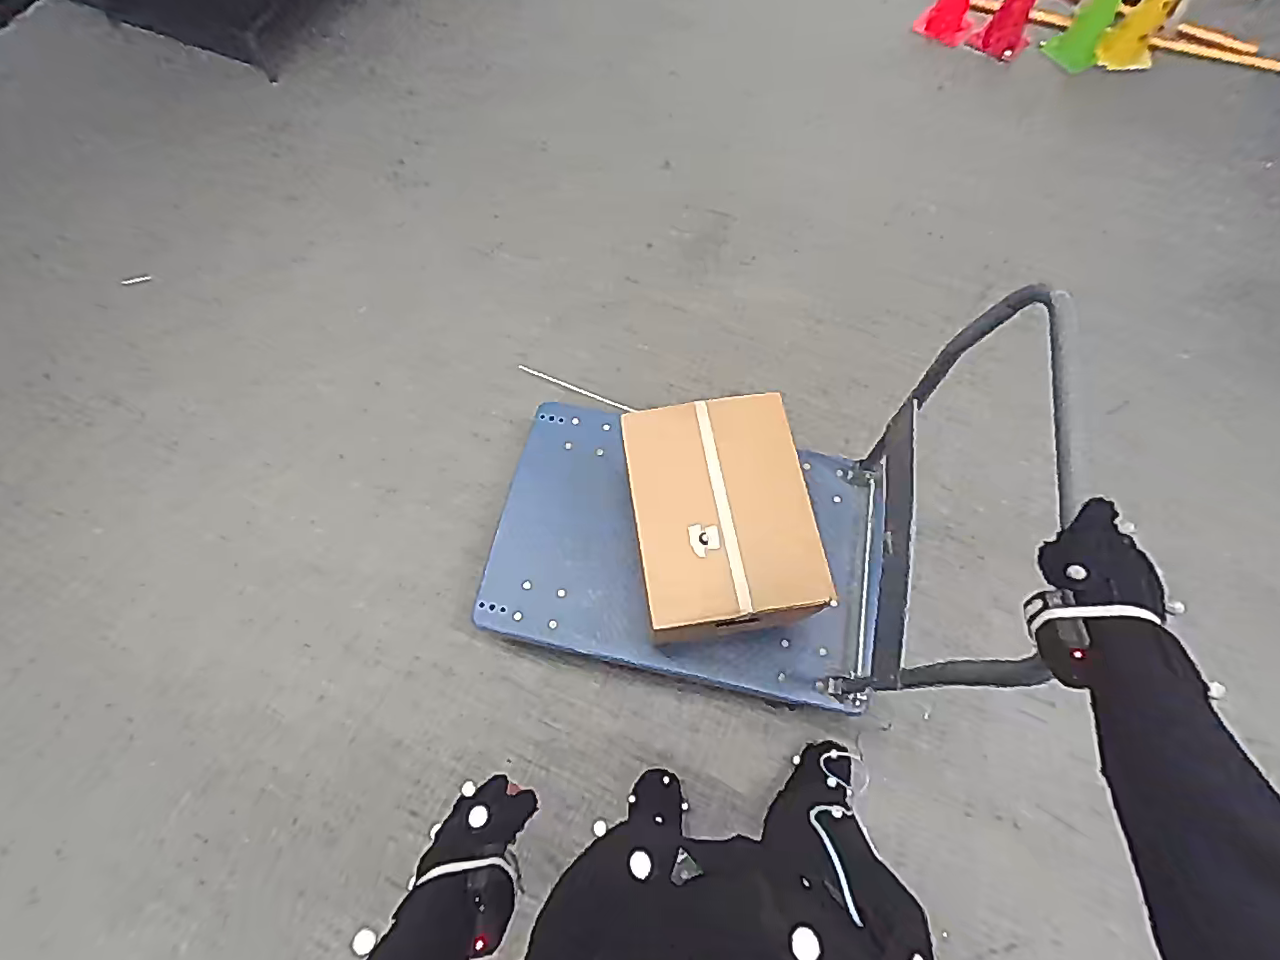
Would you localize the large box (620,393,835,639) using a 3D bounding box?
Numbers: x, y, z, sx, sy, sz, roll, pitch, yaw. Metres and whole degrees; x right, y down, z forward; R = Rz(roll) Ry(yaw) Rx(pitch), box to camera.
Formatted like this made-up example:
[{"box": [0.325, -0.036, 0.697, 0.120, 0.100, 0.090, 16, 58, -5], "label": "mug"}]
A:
[{"box": [0.145, 0.087, 1.105, 0.320, 0.320, 0.408, -9, 70, -3], "label": "large box"}]
